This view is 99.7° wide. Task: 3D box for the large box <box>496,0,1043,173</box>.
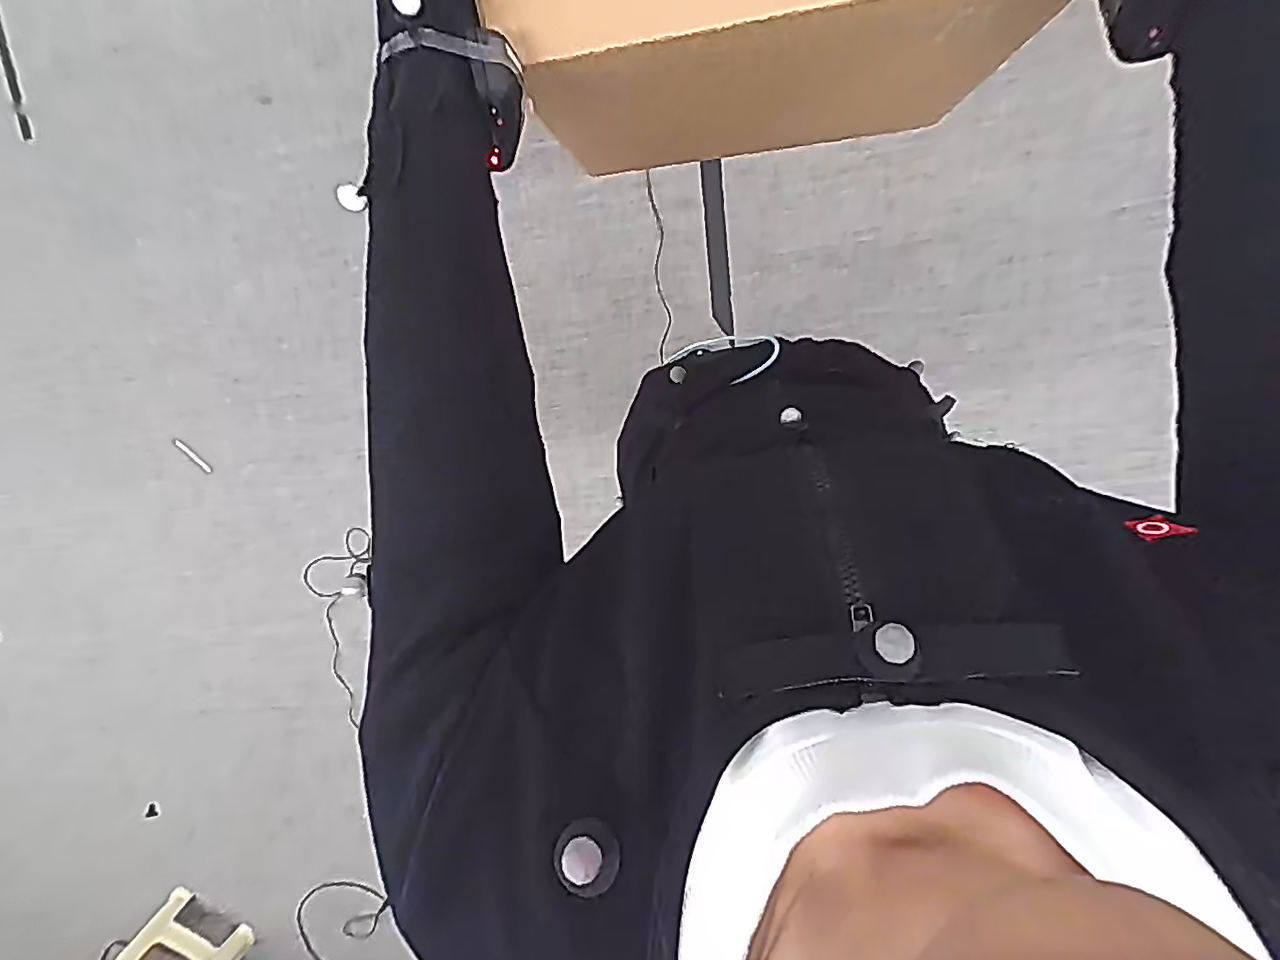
[{"bbox_3d":[0.097,-0.499,0.460,0.408,0.320,0.320,-4,106,9],"label":"large box"}]
